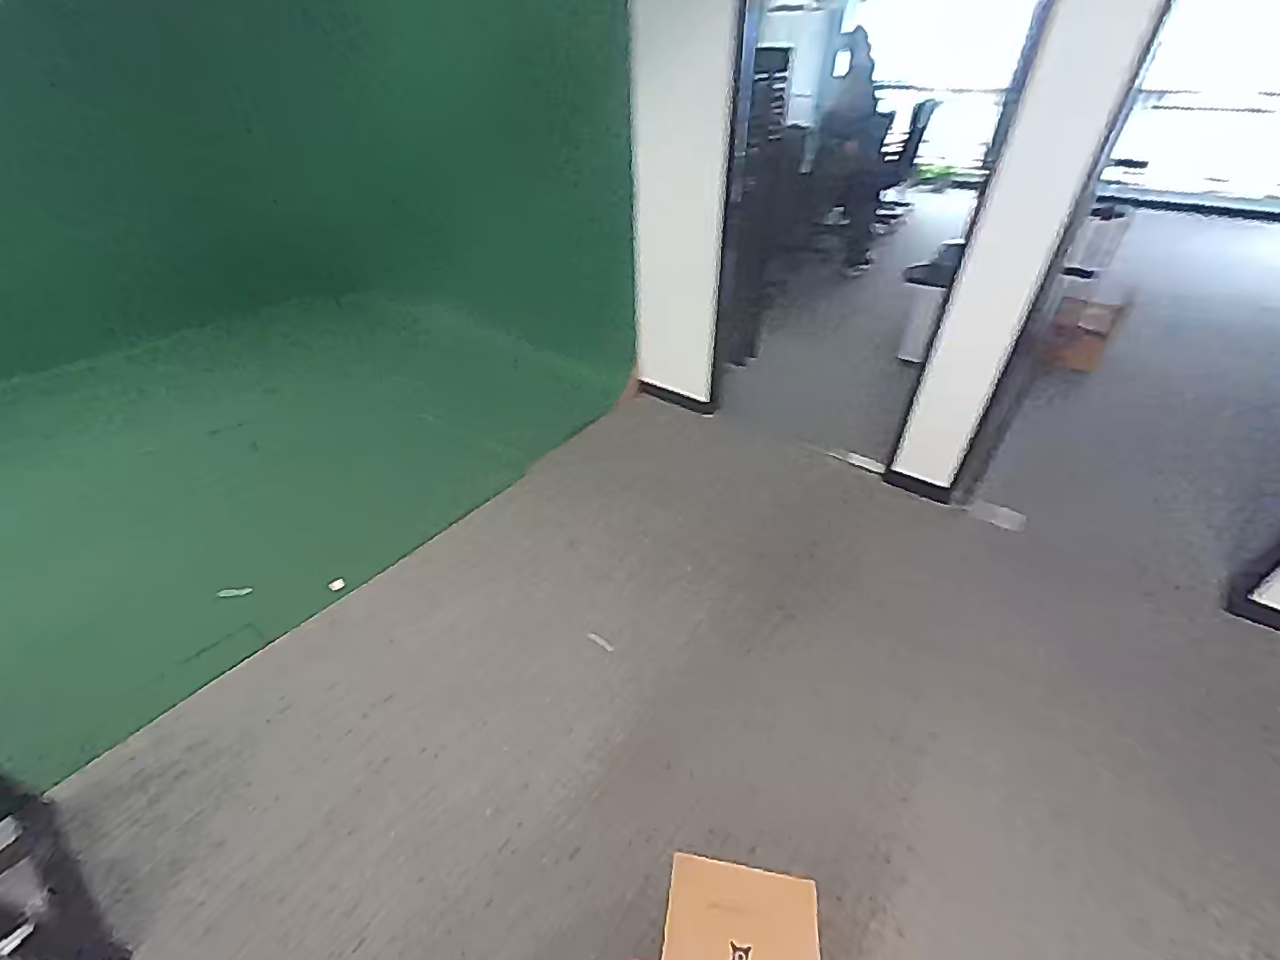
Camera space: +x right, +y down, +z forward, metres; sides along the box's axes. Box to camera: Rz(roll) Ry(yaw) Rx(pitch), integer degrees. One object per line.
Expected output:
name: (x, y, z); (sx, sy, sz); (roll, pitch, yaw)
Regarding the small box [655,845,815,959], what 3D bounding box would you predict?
small box: (0.100, 0.559, 0.615); (0.168, 0.176, 0.179); (7, 38, 6)
